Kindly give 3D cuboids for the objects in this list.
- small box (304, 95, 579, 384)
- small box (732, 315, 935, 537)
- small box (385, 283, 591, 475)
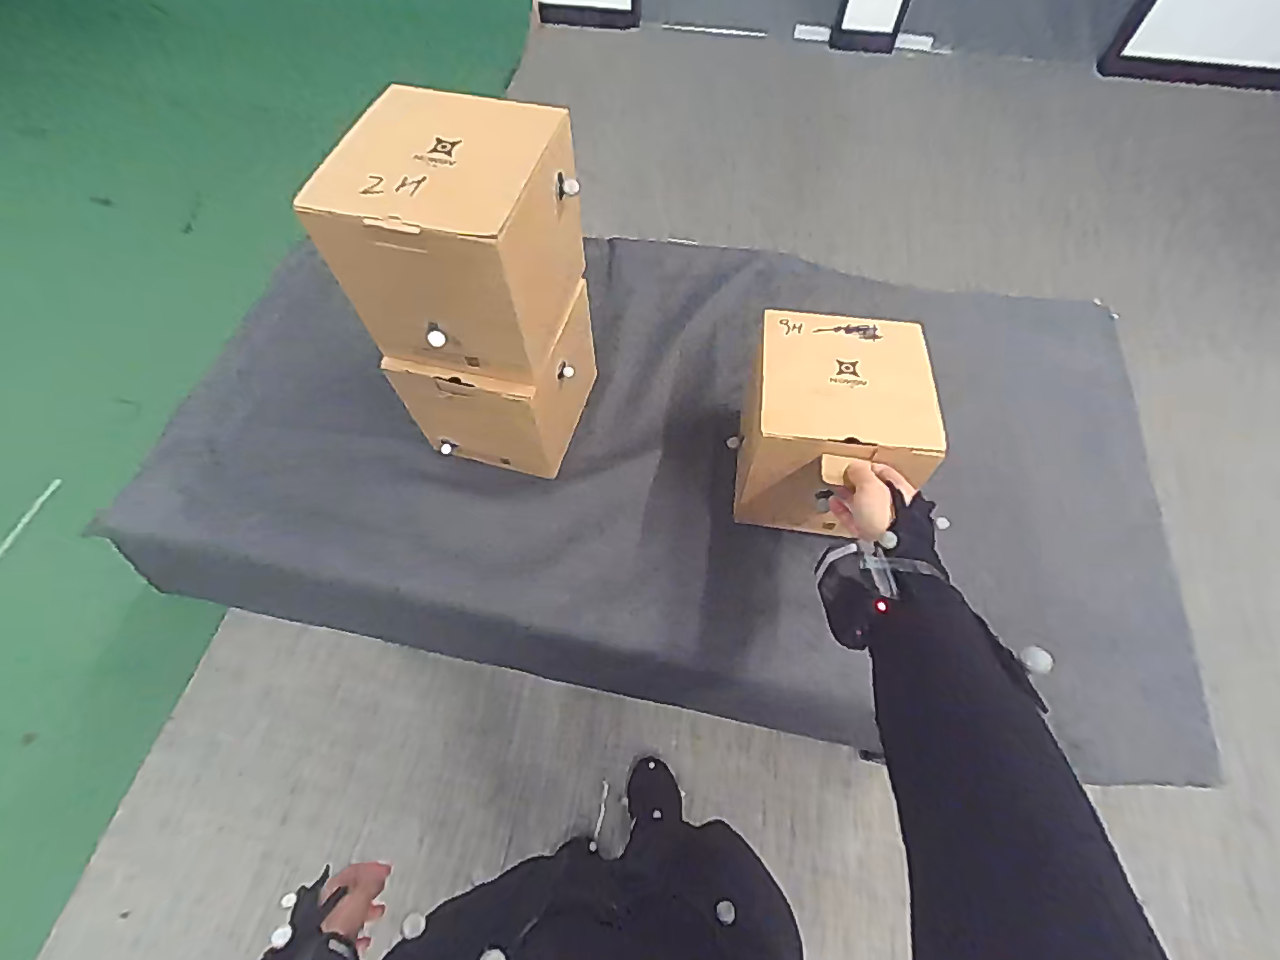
[{"bbox_3d":[-0.161,-0.221,0.513,0.168,0.176,0.179,12,62,7],"label":"small box"},{"bbox_3d":[0.198,-0.054,0.600,0.168,0.176,0.179,7,56,5],"label":"small box"},{"bbox_3d":[-0.162,-0.129,0.651,0.168,0.176,0.179,14,62,7],"label":"small box"}]
